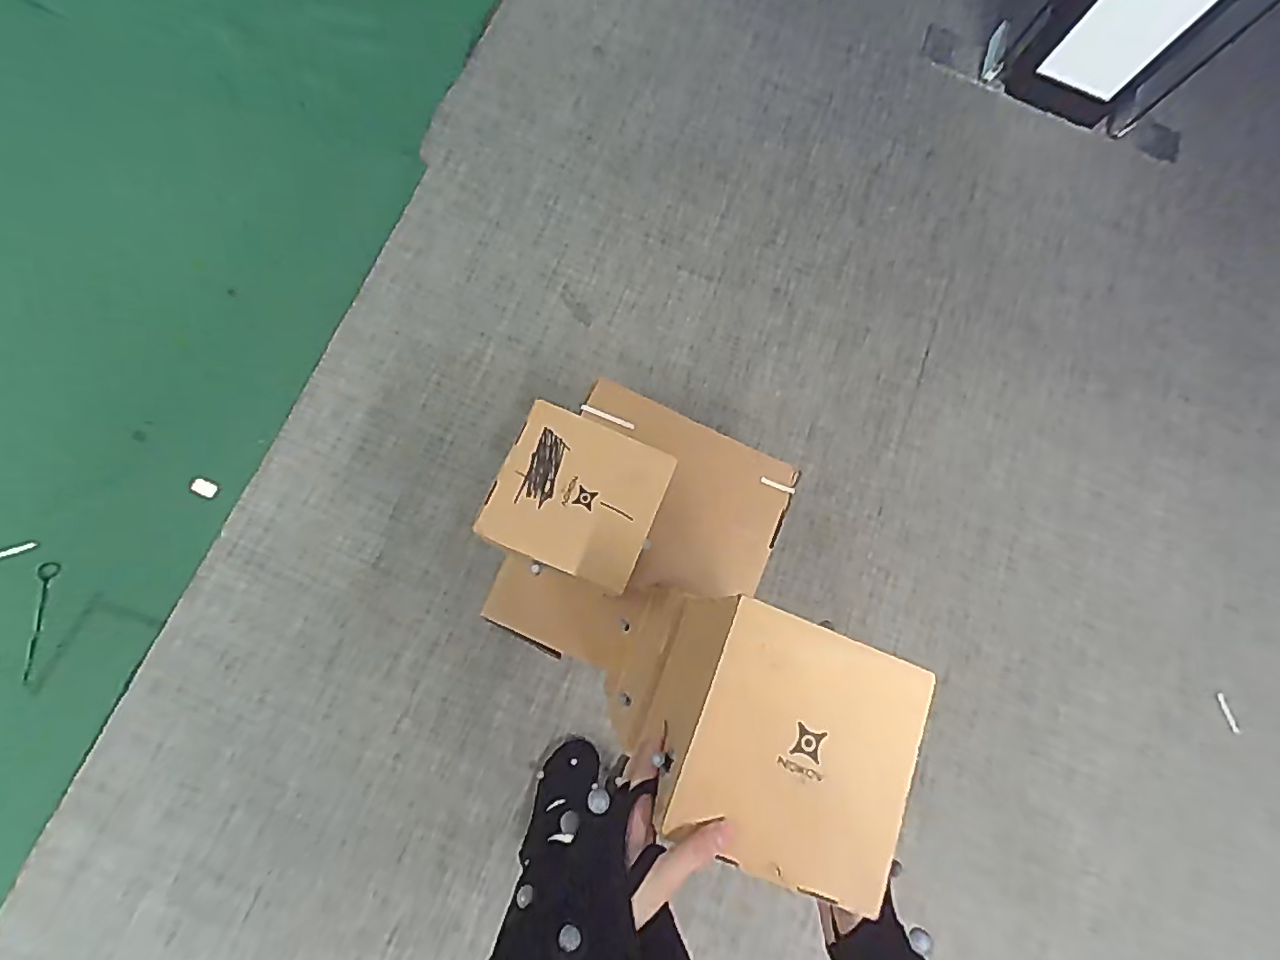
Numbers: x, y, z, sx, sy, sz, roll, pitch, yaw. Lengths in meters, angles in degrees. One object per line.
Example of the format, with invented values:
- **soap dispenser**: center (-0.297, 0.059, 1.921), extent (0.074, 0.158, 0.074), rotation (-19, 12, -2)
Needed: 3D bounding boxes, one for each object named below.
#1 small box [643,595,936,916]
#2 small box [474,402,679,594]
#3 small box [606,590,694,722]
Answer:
- **small box**: center (0.111, 0.209, 0.466), extent (0.168, 0.176, 0.179), rotation (22, 77, -2)
- **small box**: center (-0.074, 0.035, 0.660), extent (0.179, 0.176, 0.168), rotation (23, 76, -1)
- **small box**: center (0.061, 0.270, 0.798), extent (0.179, 0.176, 0.168), rotation (22, 76, -2)
